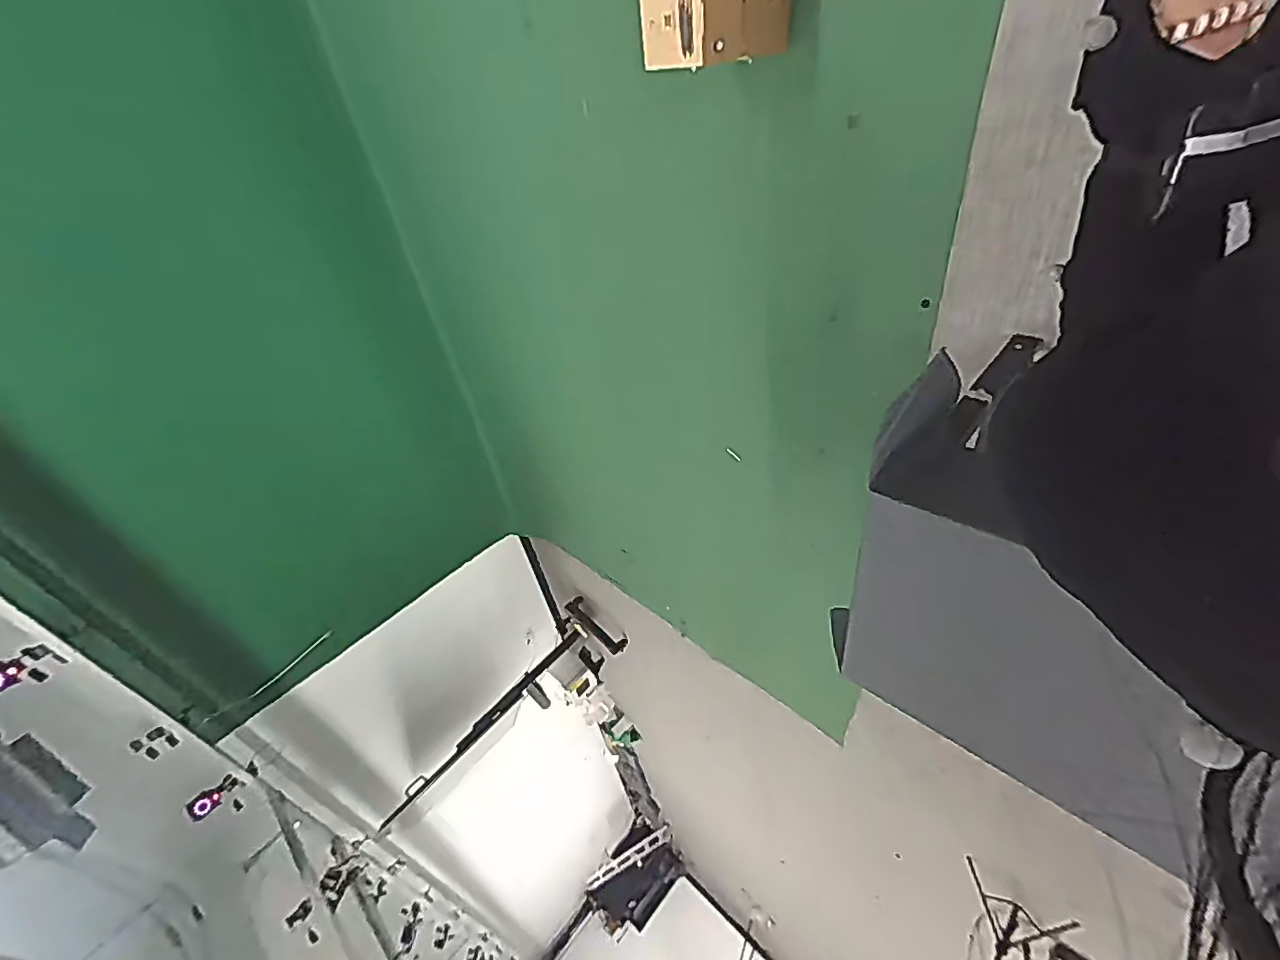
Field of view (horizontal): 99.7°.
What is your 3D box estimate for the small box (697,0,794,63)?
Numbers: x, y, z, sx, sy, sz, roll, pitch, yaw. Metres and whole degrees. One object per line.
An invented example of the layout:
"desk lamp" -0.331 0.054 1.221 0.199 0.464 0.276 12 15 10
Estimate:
"small box" 0.254 -1.111 1.288 0.179 0.176 0.168 30 143 34
